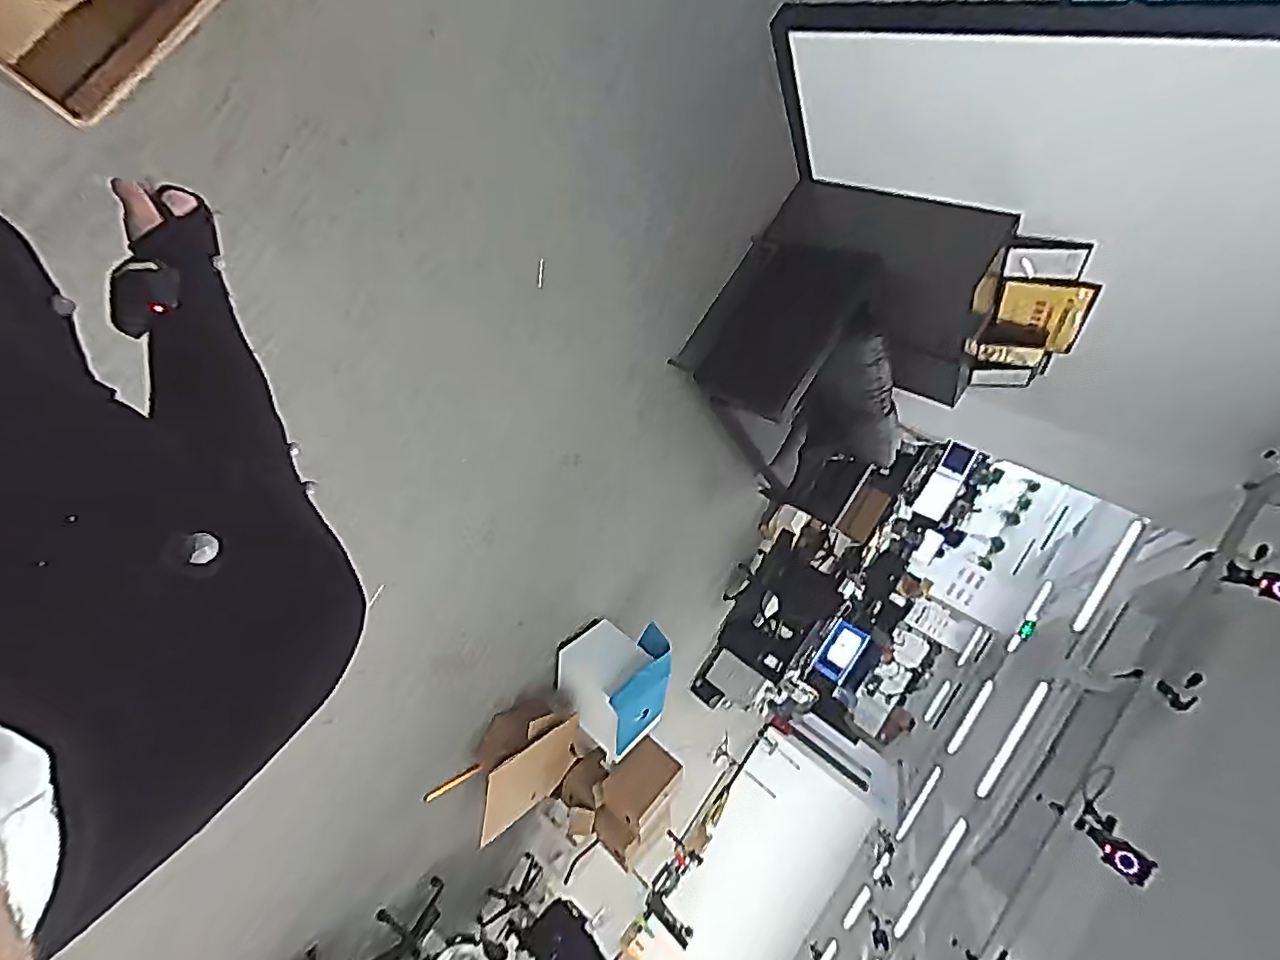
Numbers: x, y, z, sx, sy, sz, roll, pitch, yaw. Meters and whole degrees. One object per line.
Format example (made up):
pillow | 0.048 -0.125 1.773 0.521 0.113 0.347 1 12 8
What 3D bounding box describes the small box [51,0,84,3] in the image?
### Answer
small box | -0.586 -0.599 0.514 0.179 0.176 0.168 -55 149 -8
